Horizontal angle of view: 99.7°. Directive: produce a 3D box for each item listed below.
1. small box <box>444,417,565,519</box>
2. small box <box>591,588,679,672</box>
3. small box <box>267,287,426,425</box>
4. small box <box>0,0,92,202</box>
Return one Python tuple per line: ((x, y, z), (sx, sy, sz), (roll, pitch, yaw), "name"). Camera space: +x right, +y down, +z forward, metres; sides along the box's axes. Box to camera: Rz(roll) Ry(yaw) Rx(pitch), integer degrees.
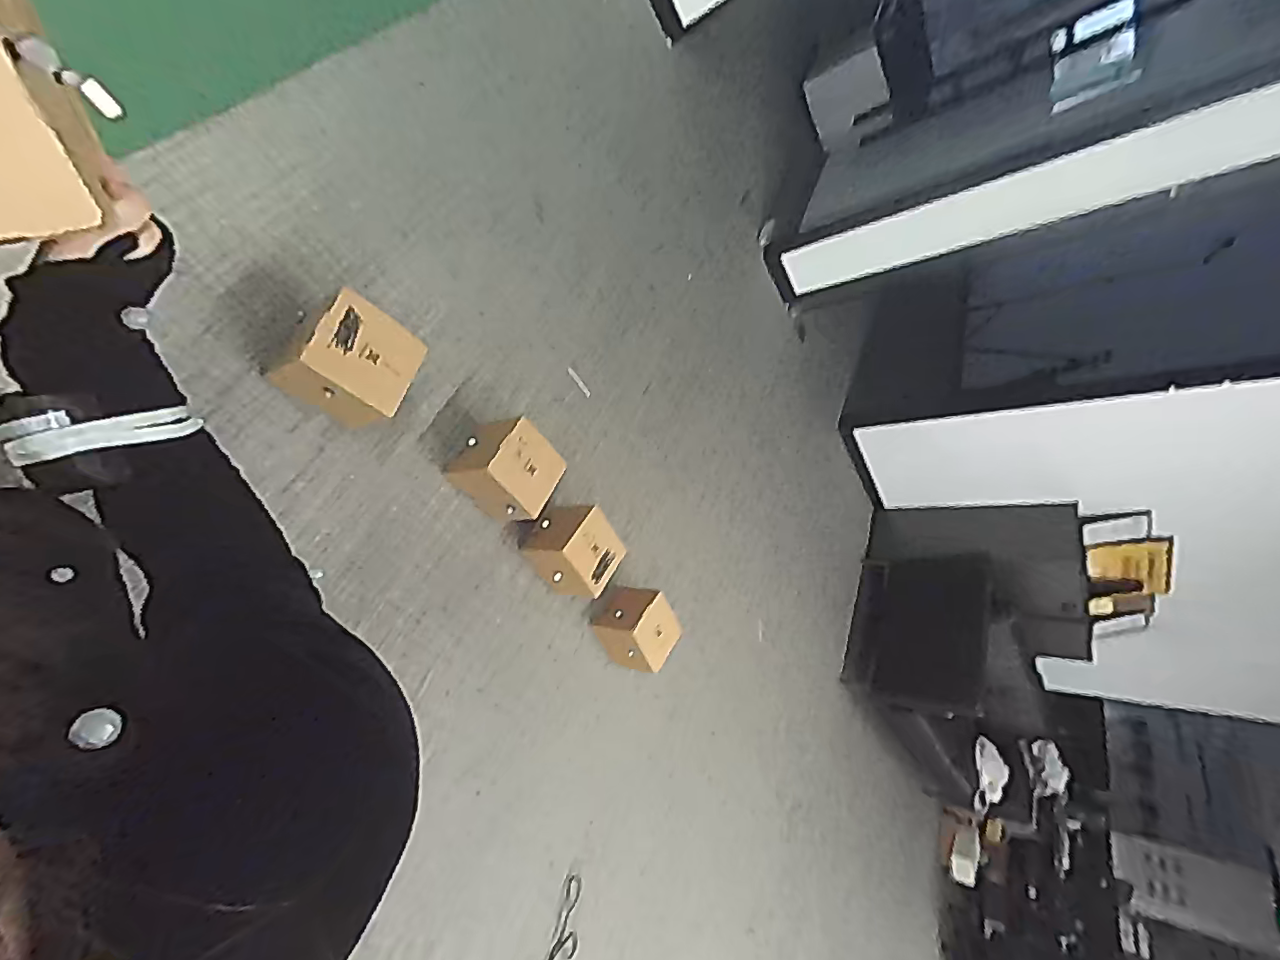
((-0.316, -0.025, 1.266), (0.179, 0.176, 0.168), (52, 49, -34), "small box")
((-0.017, 0.436, 1.596), (0.168, 0.176, 0.179), (-48, 123, -41), "small box")
((-0.544, -0.217, 1.002), (0.179, 0.176, 0.168), (40, 57, -43), "small box")
((-0.483, -0.260, 0.322), (0.179, 0.176, 0.168), (-26, 132, -30), "small box")
